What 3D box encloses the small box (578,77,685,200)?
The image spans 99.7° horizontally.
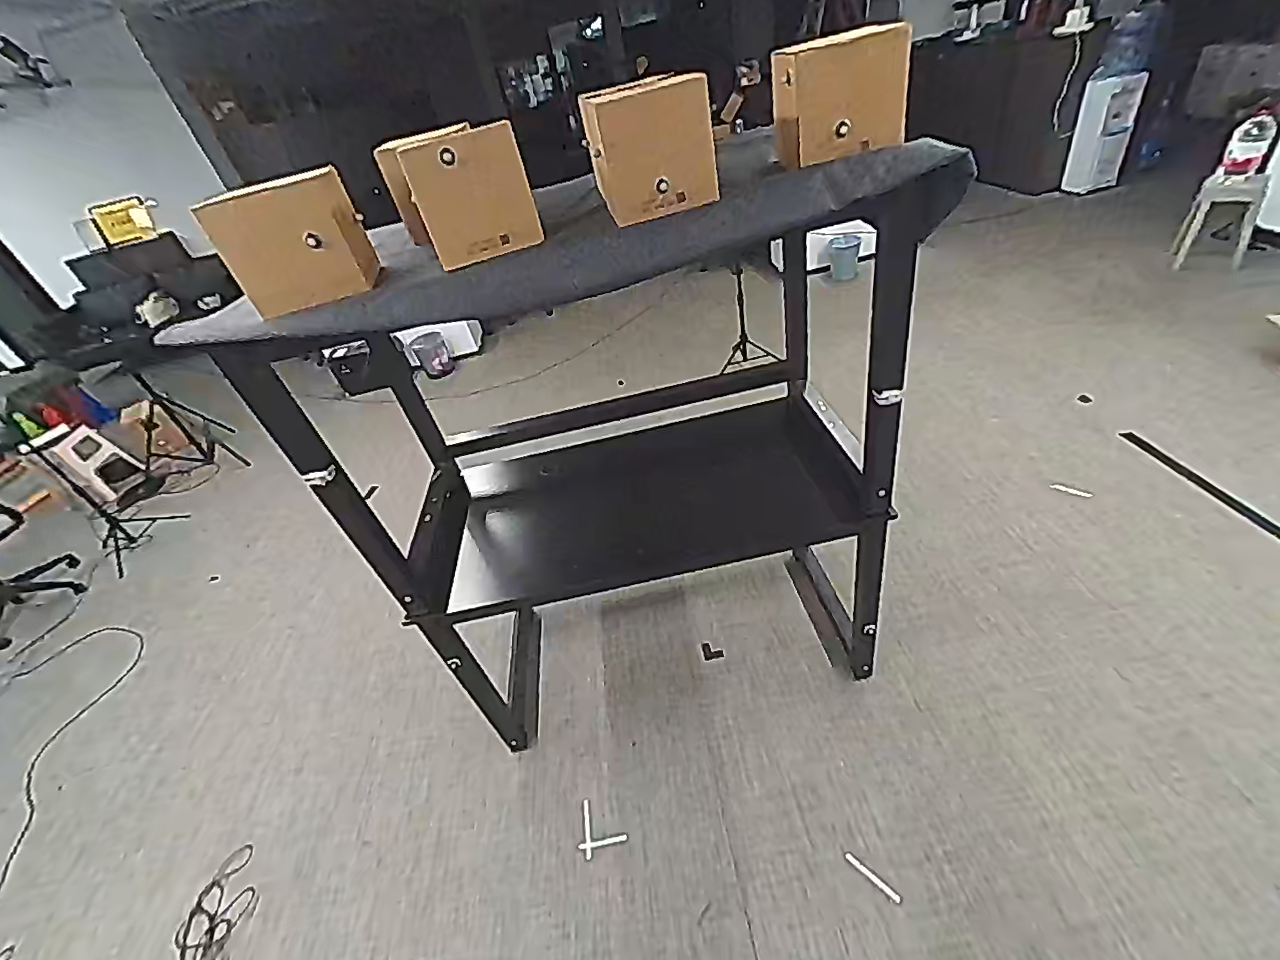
[{"bbox_3d":[-0.016,-0.661,1.053,0.168,0.176,0.179,-14,37,0],"label":"small box"}]

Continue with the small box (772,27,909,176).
[{"bbox_3d":[0.319,-0.621,0.895,0.168,0.176,0.179,-10,38,6],"label":"small box"}]

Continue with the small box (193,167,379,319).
[{"bbox_3d":[-0.548,-0.382,0.870,0.179,0.176,0.168,-18,37,-6],"label":"small box"}]

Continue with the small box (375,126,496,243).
[{"bbox_3d":[-0.401,-0.598,1.095,0.168,0.176,0.179,-15,38,-1],"label":"small box"}]
